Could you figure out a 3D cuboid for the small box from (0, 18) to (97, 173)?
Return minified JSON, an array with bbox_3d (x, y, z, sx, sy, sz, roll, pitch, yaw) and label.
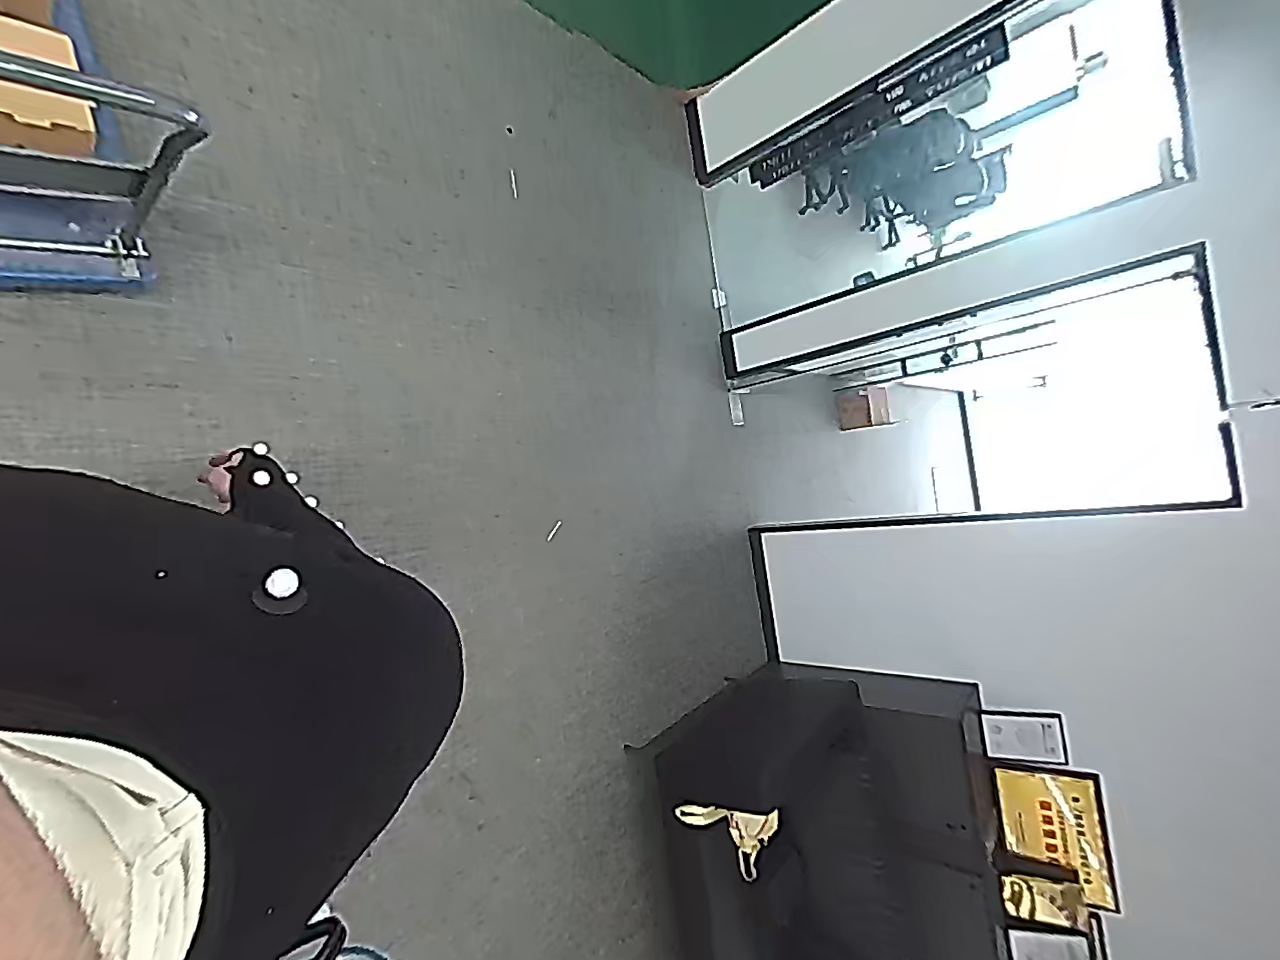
[{"bbox_3d":[-1.147,-0.710,0.997,0.168,0.176,0.179,-17,98,-49],"label":"small box"}]
